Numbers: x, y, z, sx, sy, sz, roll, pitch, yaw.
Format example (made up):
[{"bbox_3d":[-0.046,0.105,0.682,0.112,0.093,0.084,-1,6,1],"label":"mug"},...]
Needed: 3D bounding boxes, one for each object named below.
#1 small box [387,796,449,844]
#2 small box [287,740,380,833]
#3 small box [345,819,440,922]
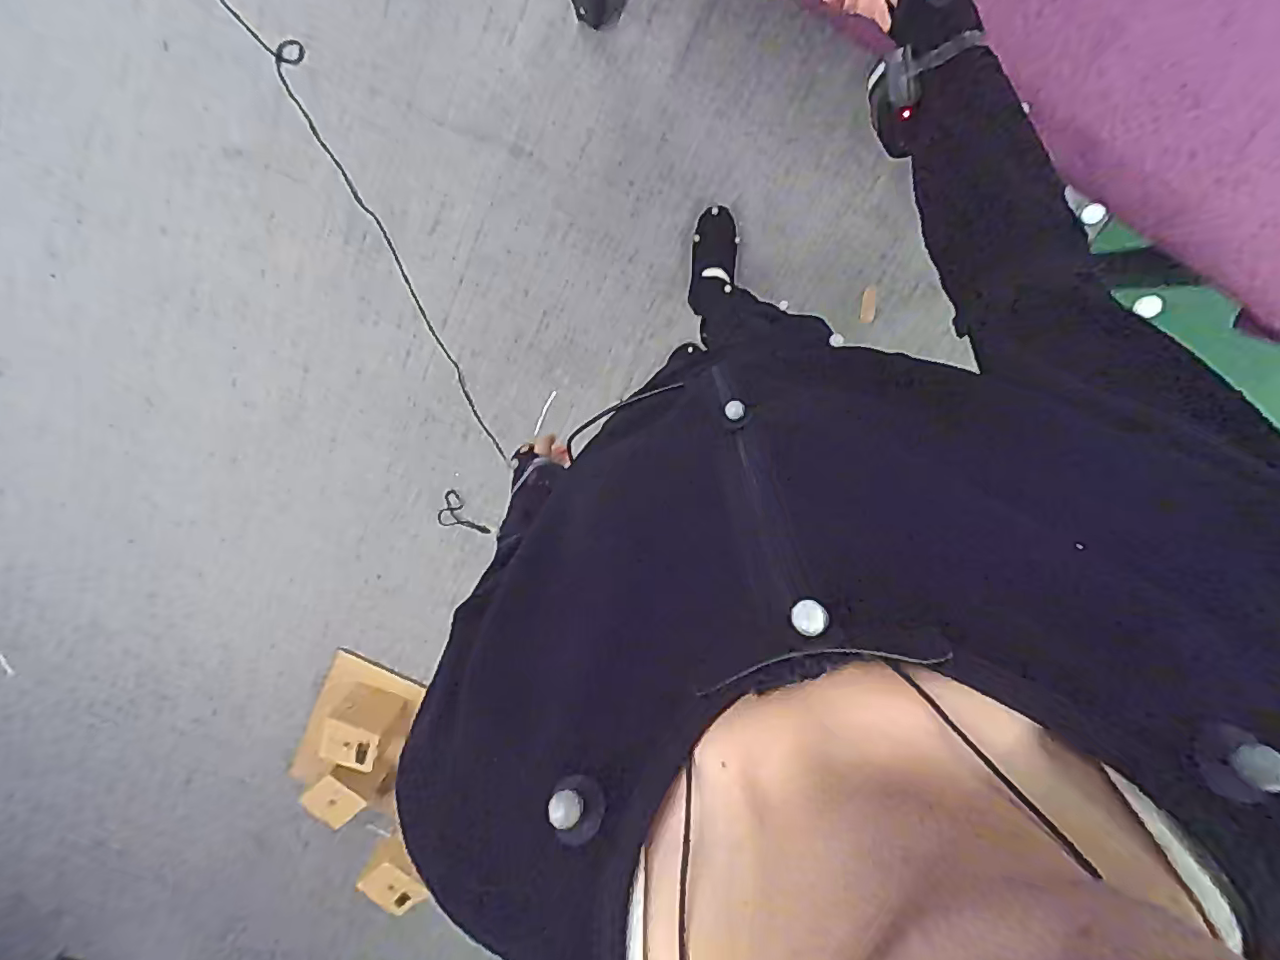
[{"bbox_3d":[-0.752,1.158,1.836,0.168,0.176,0.179,29,107,-6],"label":"small box"},{"bbox_3d":[-1.011,1.015,1.799,0.179,0.176,0.168,-41,101,14],"label":"small box"},{"bbox_3d":[-0.758,1.205,1.679,0.168,0.176,0.179,-41,100,14],"label":"small box"}]
